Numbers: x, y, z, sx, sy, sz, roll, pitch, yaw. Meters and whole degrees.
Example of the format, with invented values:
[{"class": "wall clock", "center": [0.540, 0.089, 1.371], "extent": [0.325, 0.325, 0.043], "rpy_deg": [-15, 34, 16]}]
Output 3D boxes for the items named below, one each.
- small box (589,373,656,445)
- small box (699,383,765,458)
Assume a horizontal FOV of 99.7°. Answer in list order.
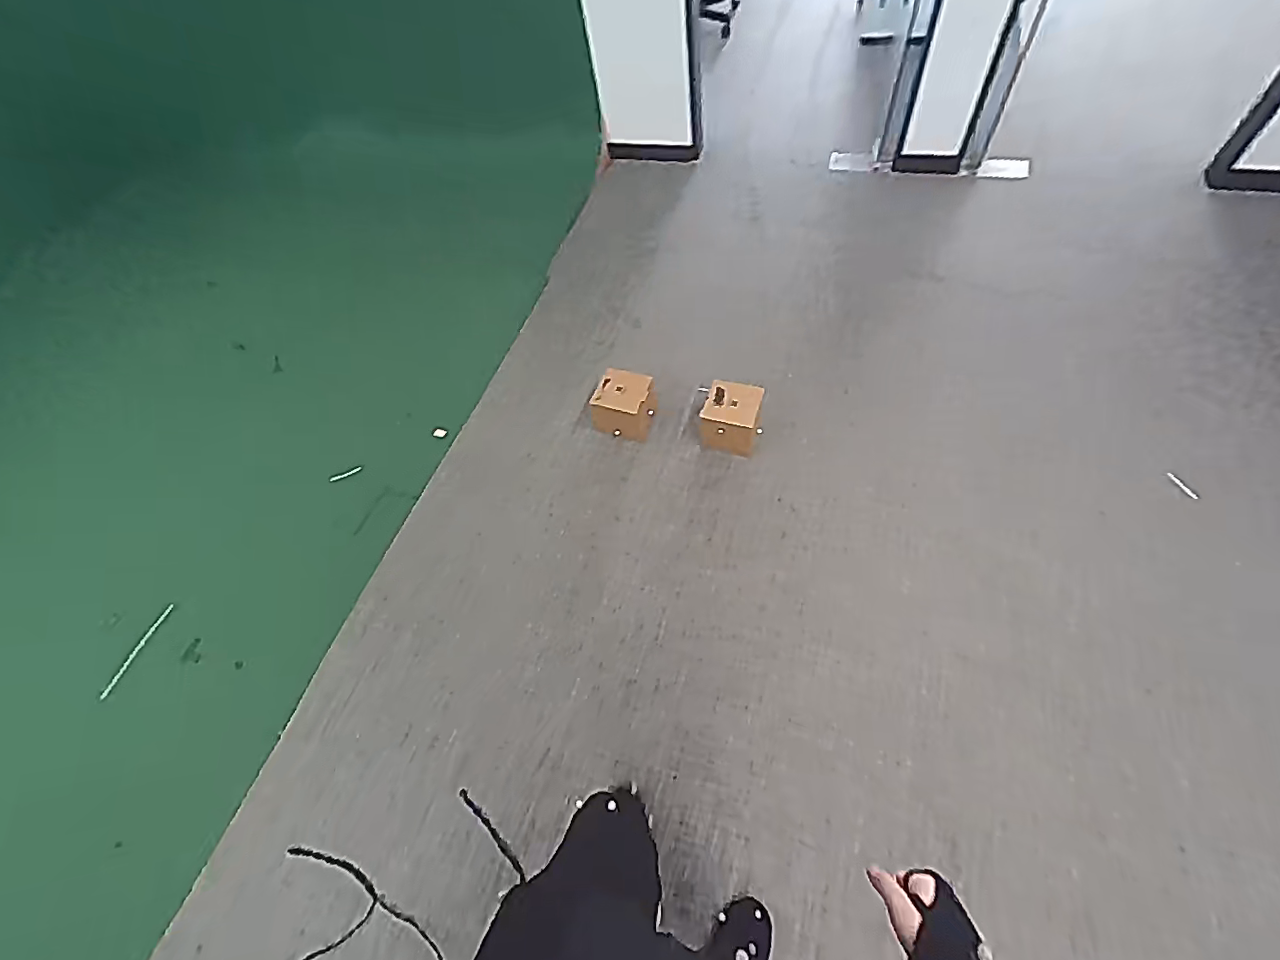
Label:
[{"class": "small box", "center": [-0.052, -0.245, 1.896], "extent": [0.179, 0.176, 0.168], "rpy_deg": [16, 63, 17]}, {"class": "small box", "center": [0.307, -0.195, 1.805], "extent": [0.179, 0.176, 0.168], "rpy_deg": [14, 63, 16]}]
